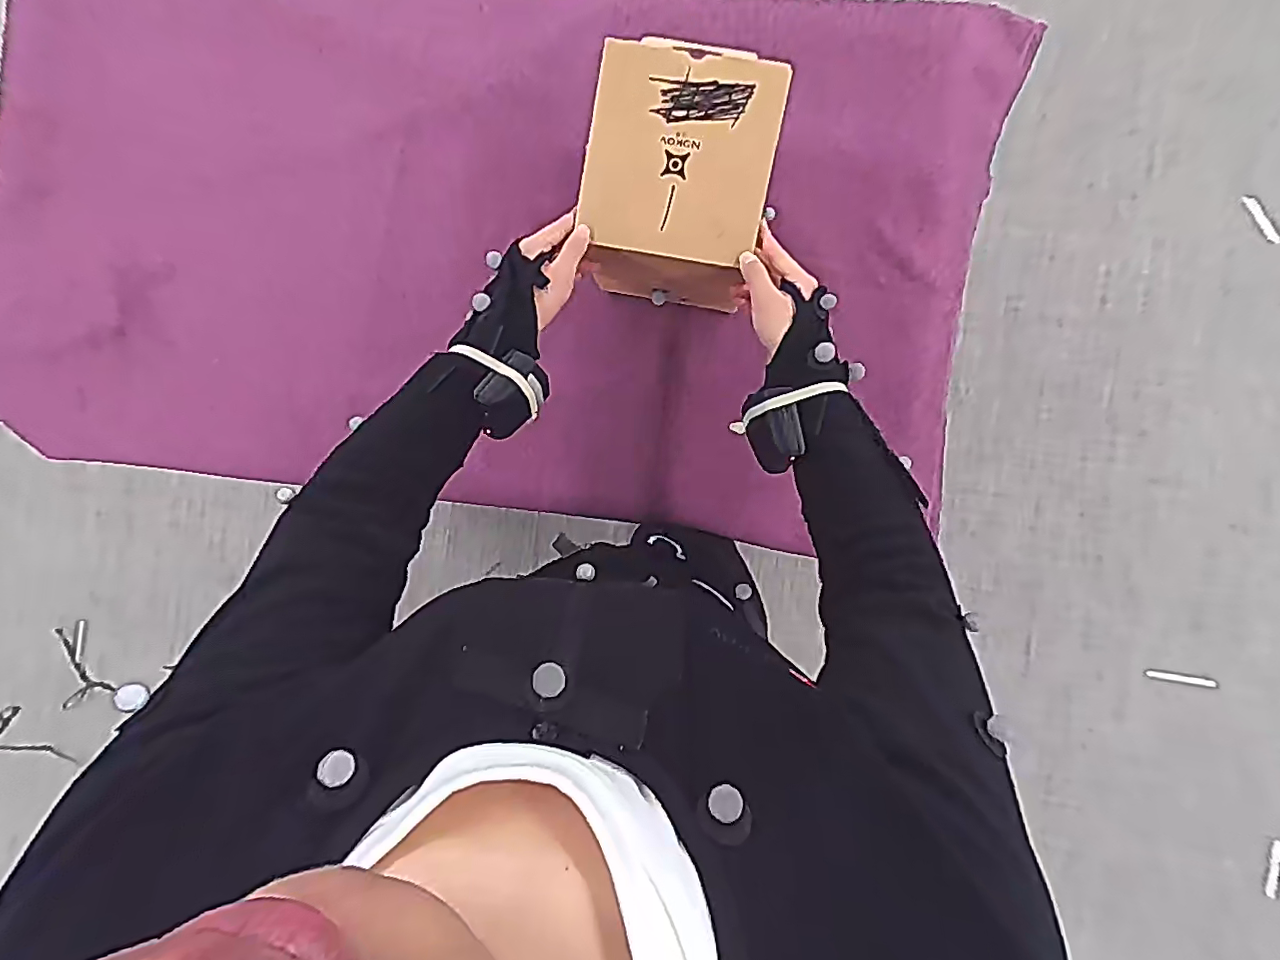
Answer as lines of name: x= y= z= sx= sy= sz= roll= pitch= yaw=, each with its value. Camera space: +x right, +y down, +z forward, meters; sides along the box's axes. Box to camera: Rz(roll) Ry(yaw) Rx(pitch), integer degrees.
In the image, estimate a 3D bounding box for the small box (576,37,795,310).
small box: x=0.044 y=-0.292 z=0.553 sx=0.168 sy=0.176 sz=0.179 roll=12 pitch=96 yaw=4
